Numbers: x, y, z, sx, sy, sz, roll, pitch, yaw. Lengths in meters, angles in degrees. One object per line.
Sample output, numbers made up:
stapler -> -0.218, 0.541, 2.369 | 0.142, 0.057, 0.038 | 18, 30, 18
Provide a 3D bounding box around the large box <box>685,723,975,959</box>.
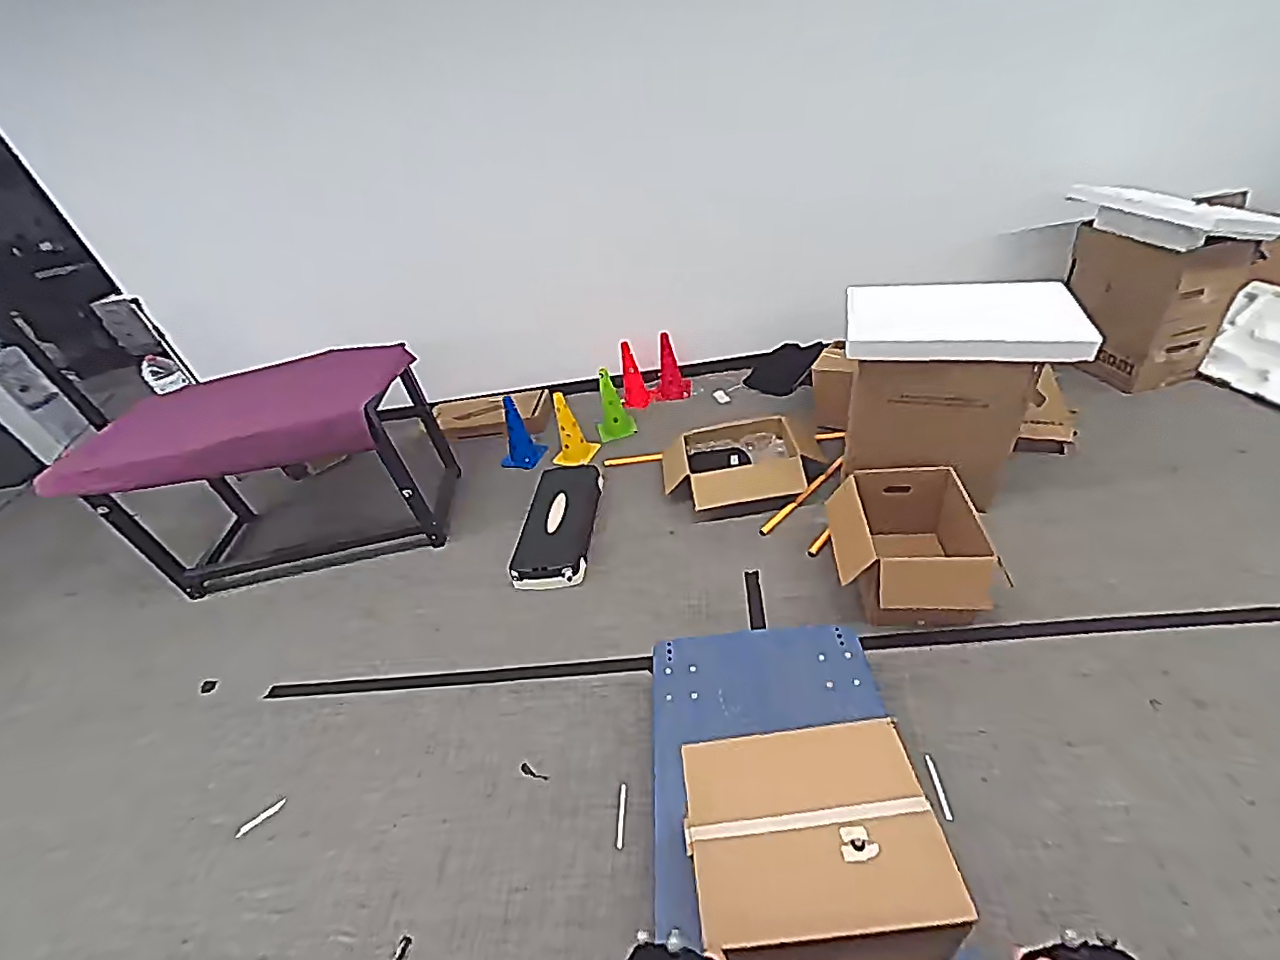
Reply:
large box -> 0.312, 0.704, 1.006 | 0.408, 0.320, 0.320 | -9, 37, 3
